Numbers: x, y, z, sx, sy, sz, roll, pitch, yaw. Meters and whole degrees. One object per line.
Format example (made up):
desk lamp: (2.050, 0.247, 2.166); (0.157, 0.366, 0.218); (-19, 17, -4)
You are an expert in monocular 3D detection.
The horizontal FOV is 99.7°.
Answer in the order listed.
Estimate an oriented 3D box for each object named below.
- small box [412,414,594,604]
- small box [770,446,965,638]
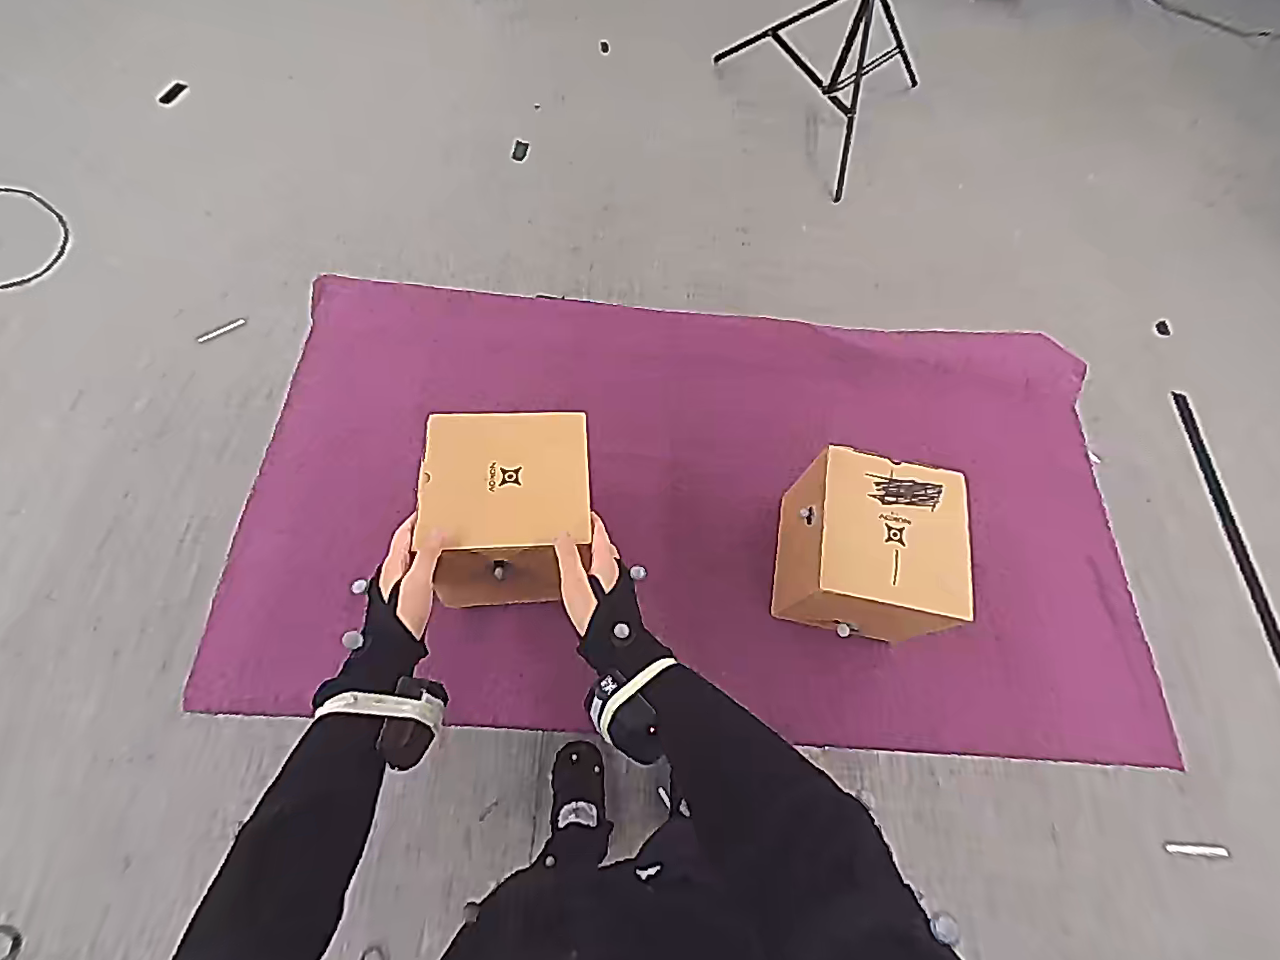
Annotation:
small box: (-0.148, 0.038, 0.635); (0.179, 0.176, 0.168); (-2, 59, -7)
small box: (0.270, 0.085, 0.672); (0.168, 0.176, 0.179); (12, 66, 0)
